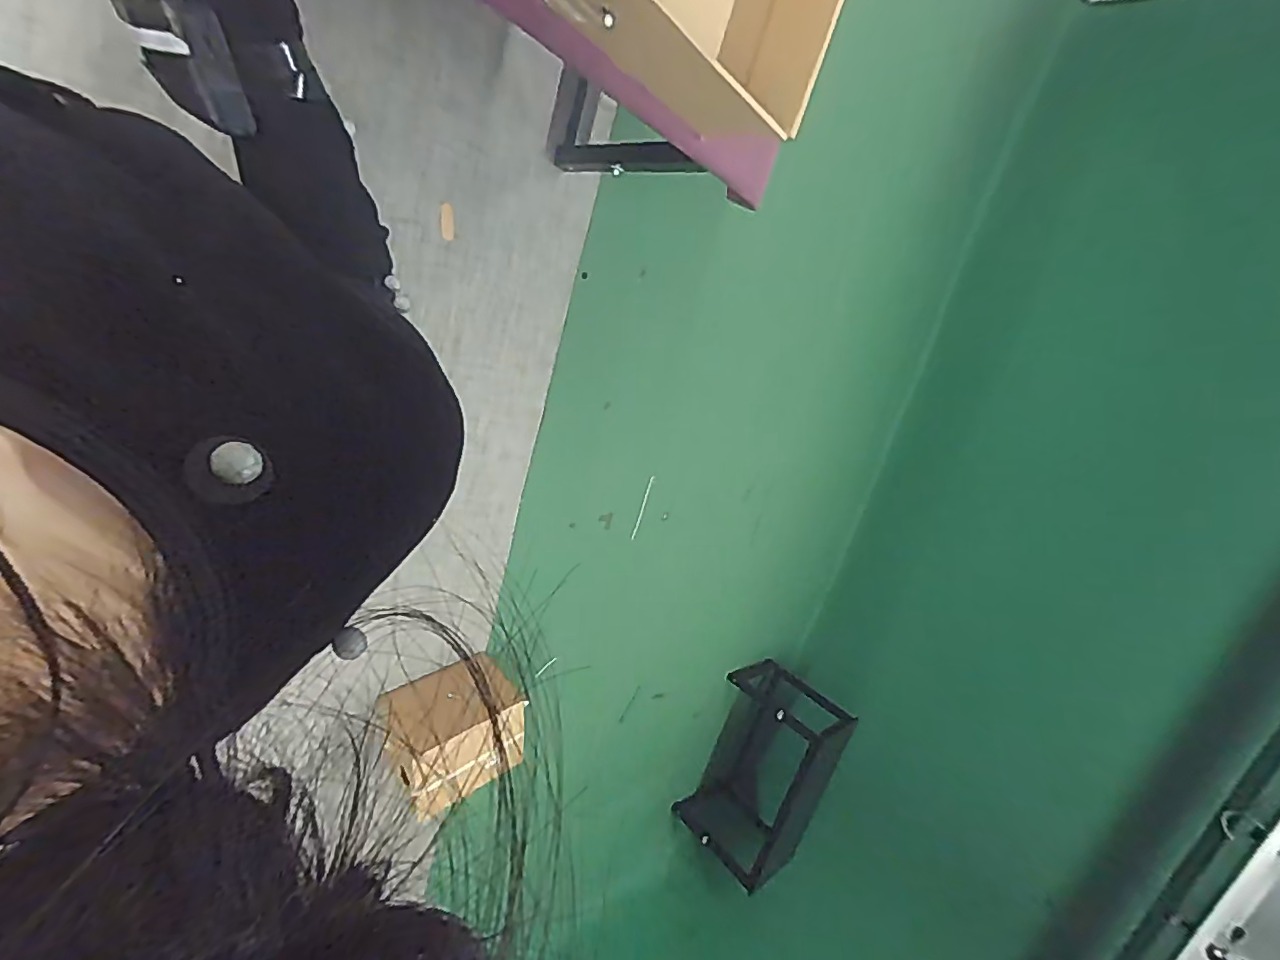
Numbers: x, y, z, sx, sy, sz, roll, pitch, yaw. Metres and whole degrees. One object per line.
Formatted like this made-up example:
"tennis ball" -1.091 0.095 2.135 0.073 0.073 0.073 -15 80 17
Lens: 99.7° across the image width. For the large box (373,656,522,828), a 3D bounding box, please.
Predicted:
"large box" -0.677 0.908 1.926 0.408 0.320 0.320 -17 123 -42
